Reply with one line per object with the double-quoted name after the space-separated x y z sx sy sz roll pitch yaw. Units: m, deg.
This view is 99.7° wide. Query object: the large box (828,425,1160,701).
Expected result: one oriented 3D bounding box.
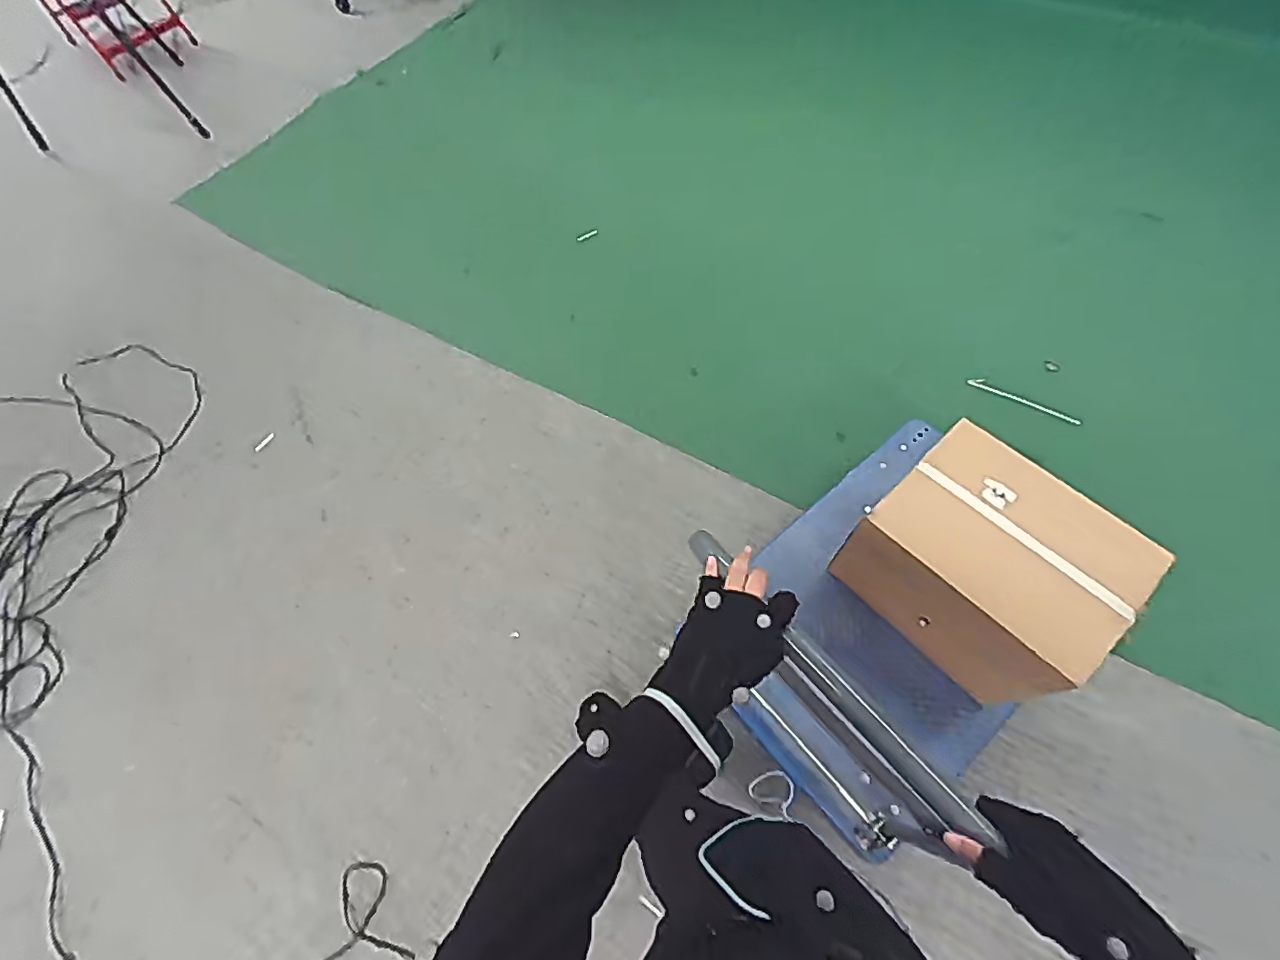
0.666 0.173 1.095 0.320 0.320 0.408 -40 65 -16 "large box"
